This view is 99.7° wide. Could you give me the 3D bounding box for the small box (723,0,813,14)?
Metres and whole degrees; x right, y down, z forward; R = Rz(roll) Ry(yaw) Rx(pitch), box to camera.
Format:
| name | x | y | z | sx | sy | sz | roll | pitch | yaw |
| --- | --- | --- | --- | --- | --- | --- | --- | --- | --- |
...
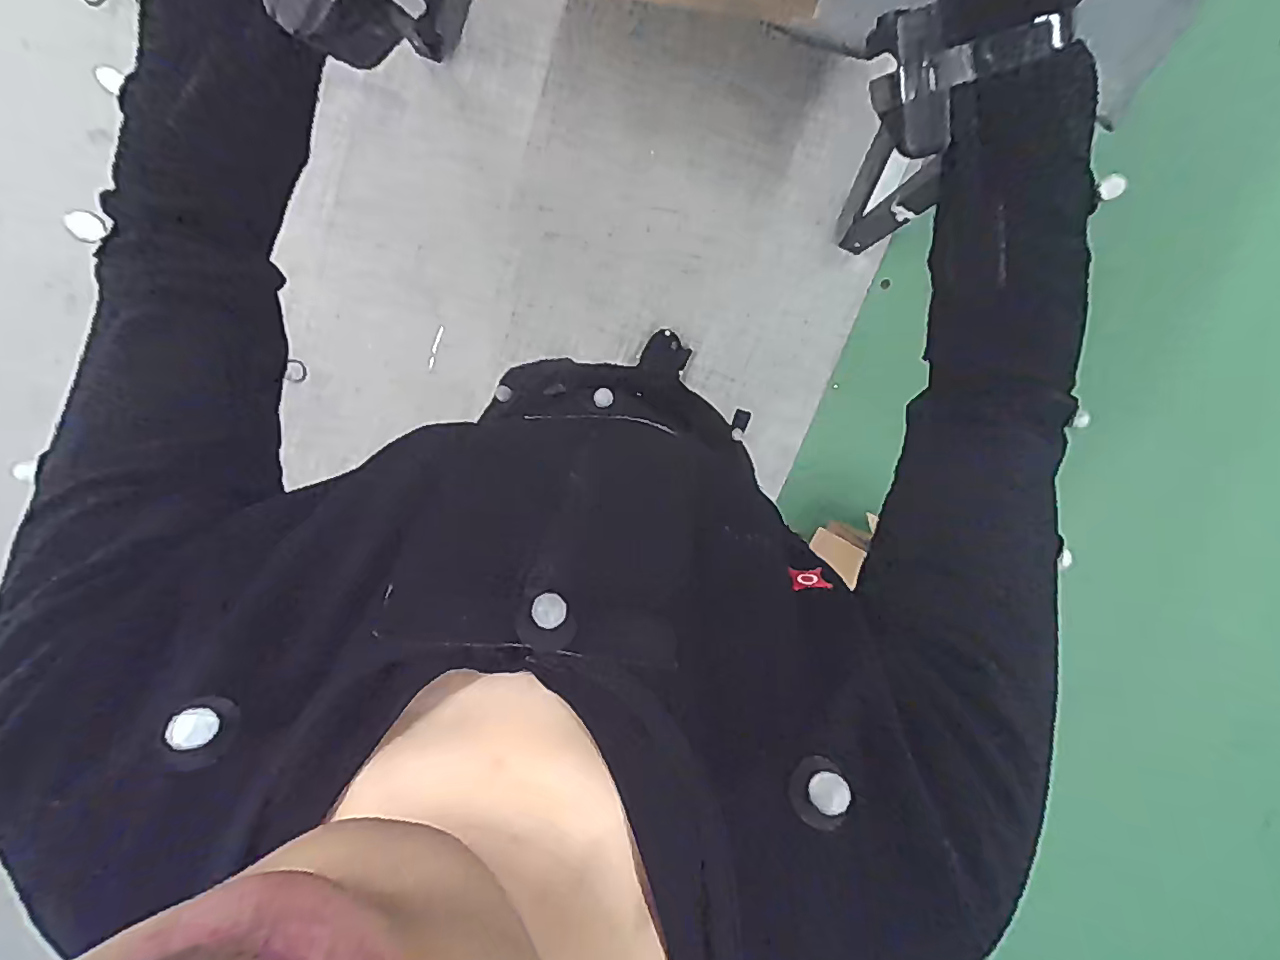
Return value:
| name | x | y | z | sx | sy | sz | roll | pitch | yaw |
| --- | --- | --- | --- | --- | --- | --- | --- | --- | --- |
| small box | 0.045 | -0.390 | 0.269 | 0.168 | 0.176 | 0.179 | 9 | 94 | 0 |
